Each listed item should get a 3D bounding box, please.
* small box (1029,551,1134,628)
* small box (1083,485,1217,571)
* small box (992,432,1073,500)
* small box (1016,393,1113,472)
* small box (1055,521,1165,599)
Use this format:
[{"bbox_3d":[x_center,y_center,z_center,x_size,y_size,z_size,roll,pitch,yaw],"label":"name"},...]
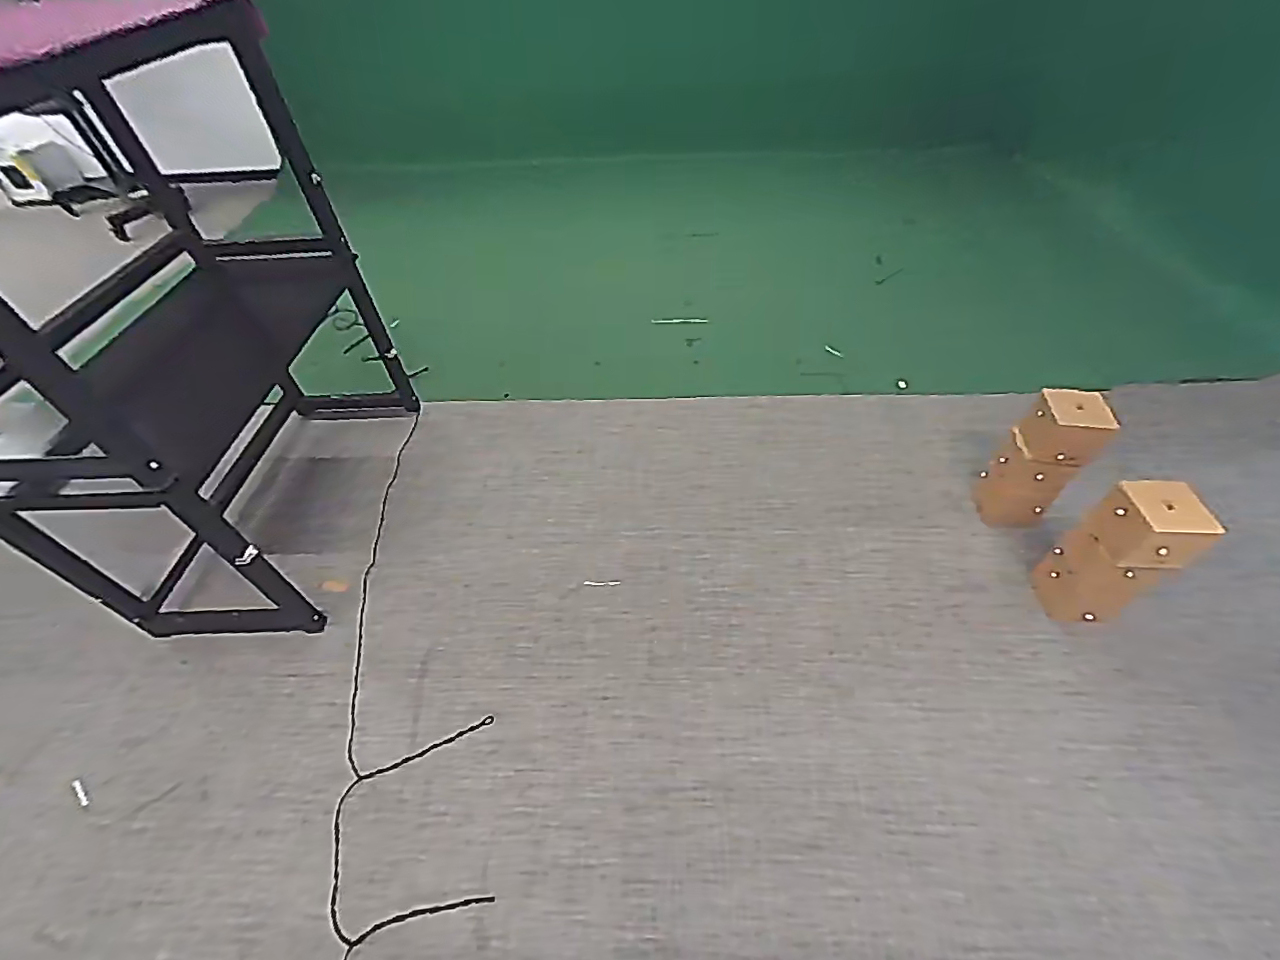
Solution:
[{"bbox_3d":[1.380,0.345,1.707,0.168,0.176,0.179,0,47,4],"label":"small box"},{"bbox_3d":[1.363,0.132,1.462,0.168,0.176,0.179,1,48,4],"label":"small box"},{"bbox_3d":[1.340,-0.047,1.851,0.179,0.176,0.168,3,49,8],"label":"small box"},{"bbox_3d":[1.341,-0.151,1.724,0.168,0.176,0.179,7,48,10],"label":"small box"},{"bbox_3d":[1.368,0.236,1.586,0.179,0.176,0.168,2,47,4],"label":"small box"}]
